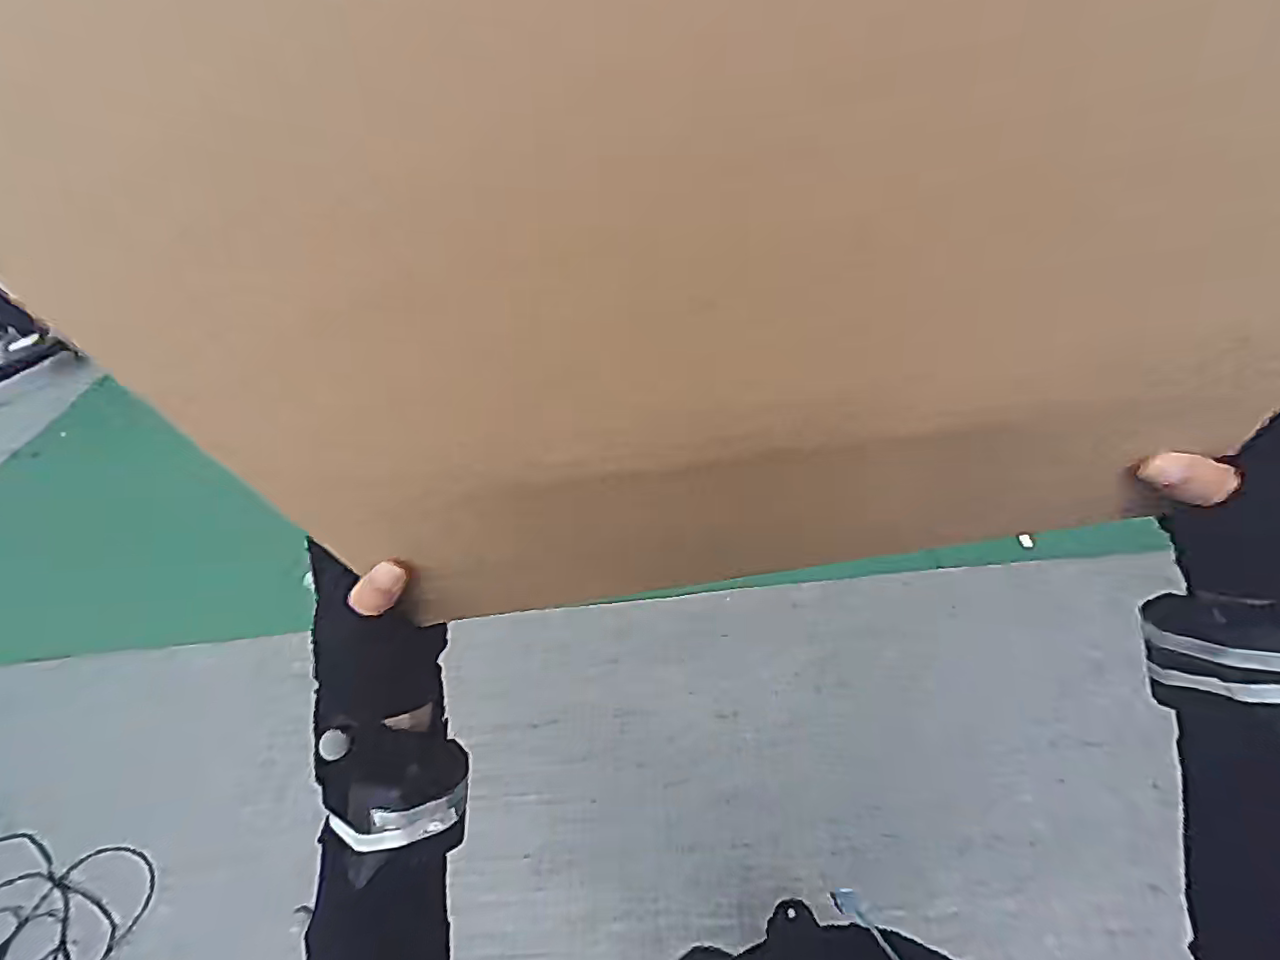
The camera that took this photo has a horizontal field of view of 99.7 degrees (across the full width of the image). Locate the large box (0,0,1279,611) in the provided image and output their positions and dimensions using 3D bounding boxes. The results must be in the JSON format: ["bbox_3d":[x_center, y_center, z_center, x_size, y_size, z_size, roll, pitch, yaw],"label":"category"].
[{"bbox_3d":[0.045,-0.164,0.273,0.408,0.320,0.320,-10,51,4],"label":"large box"}]
